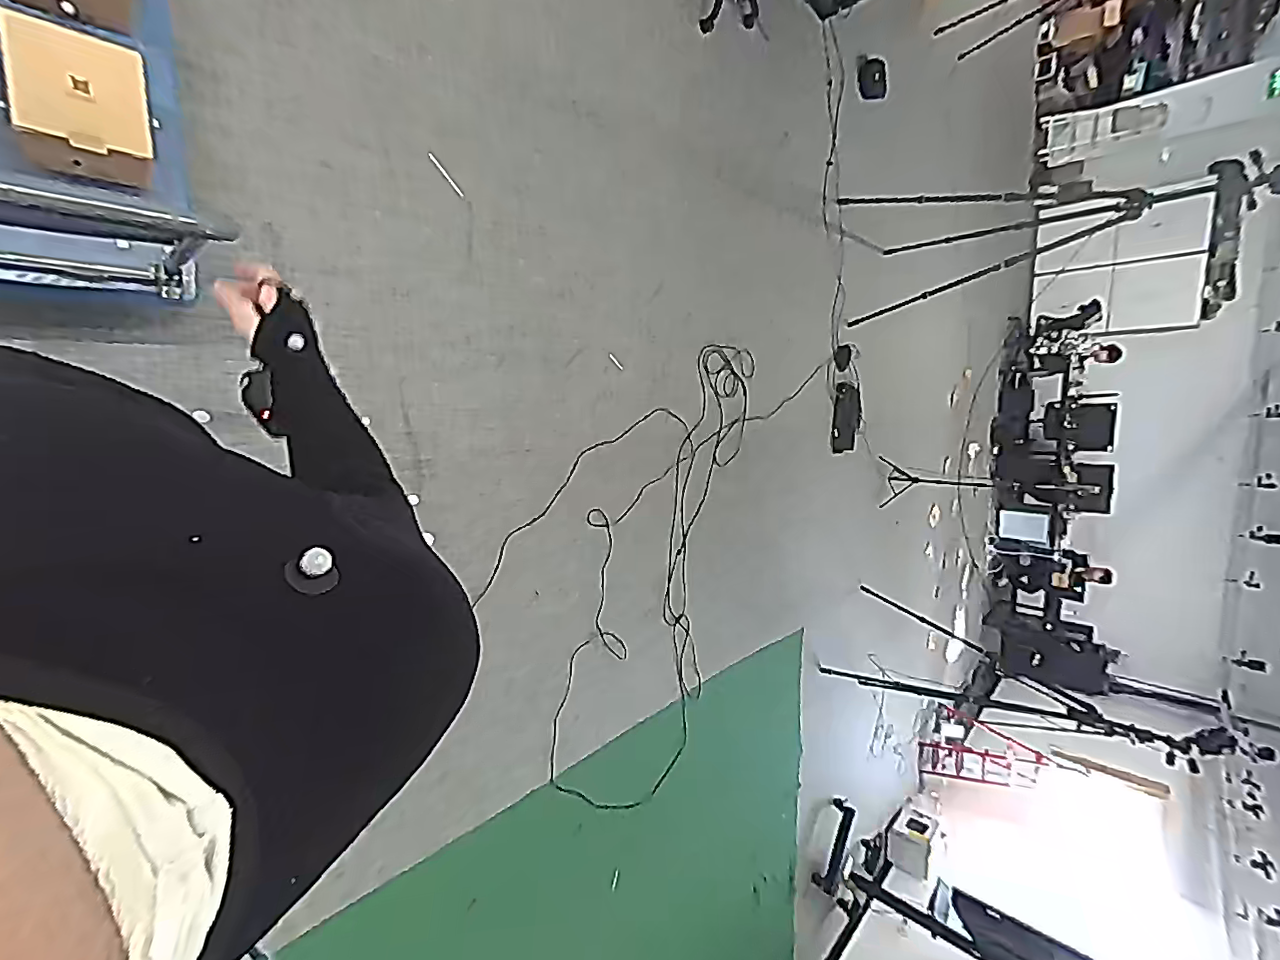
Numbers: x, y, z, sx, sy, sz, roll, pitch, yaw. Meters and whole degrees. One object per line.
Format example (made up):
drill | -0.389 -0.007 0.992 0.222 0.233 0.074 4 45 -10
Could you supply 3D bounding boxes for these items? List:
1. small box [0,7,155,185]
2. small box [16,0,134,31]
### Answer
small box | -0.975 -0.650 0.944 0.168 0.176 0.179 -9 102 -45
small box | -0.979 -0.916 0.904 0.168 0.176 0.179 -15 106 -43
